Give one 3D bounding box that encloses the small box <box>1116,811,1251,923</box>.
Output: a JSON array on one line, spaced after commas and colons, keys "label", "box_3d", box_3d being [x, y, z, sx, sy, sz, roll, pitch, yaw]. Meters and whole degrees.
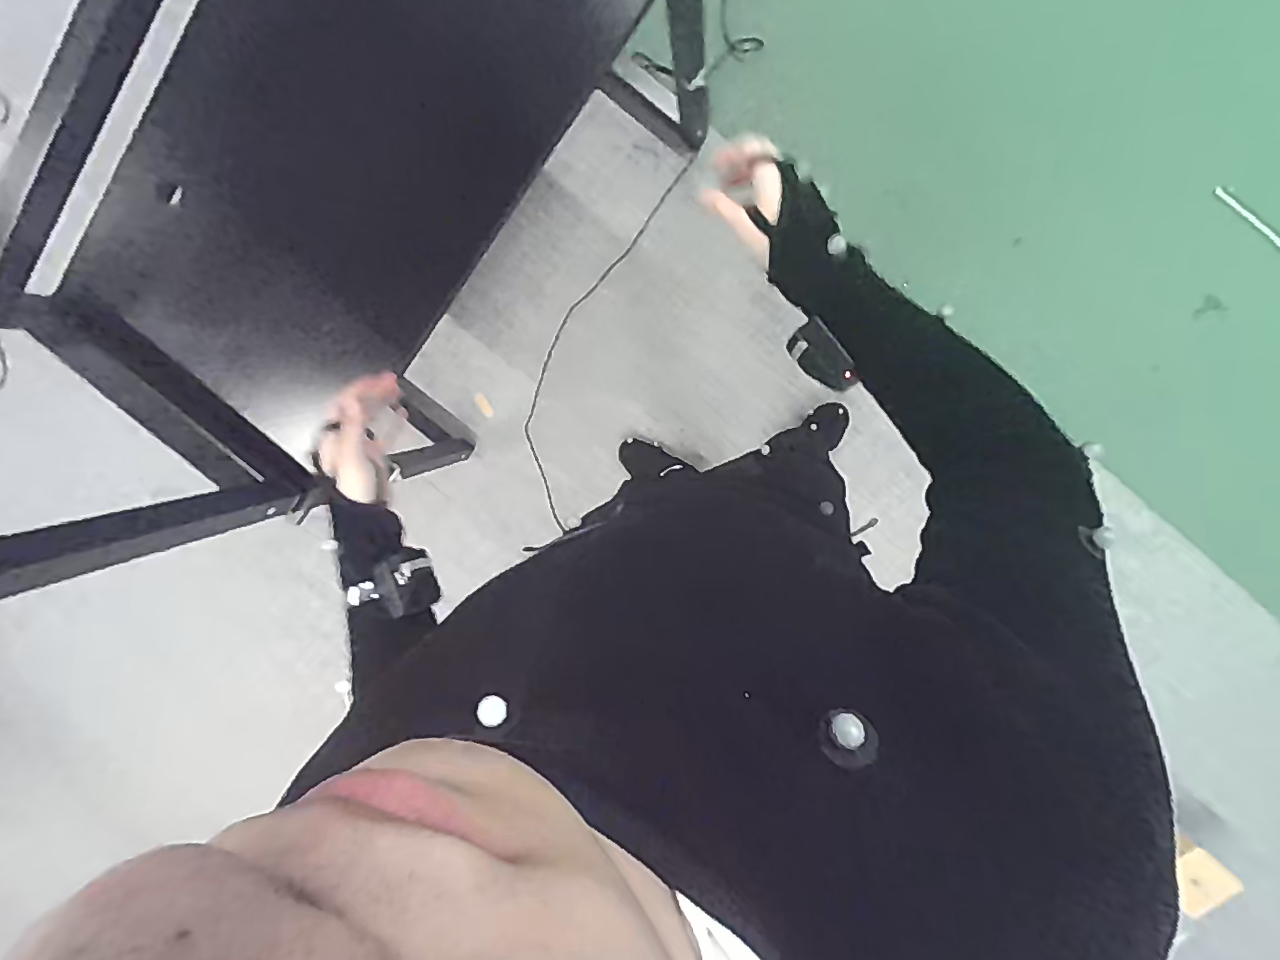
[{"label": "small box", "box_3d": [1.539, 1.092, 1.547, 0.179, 0.176, 0.168, 41, 103, -1]}]
